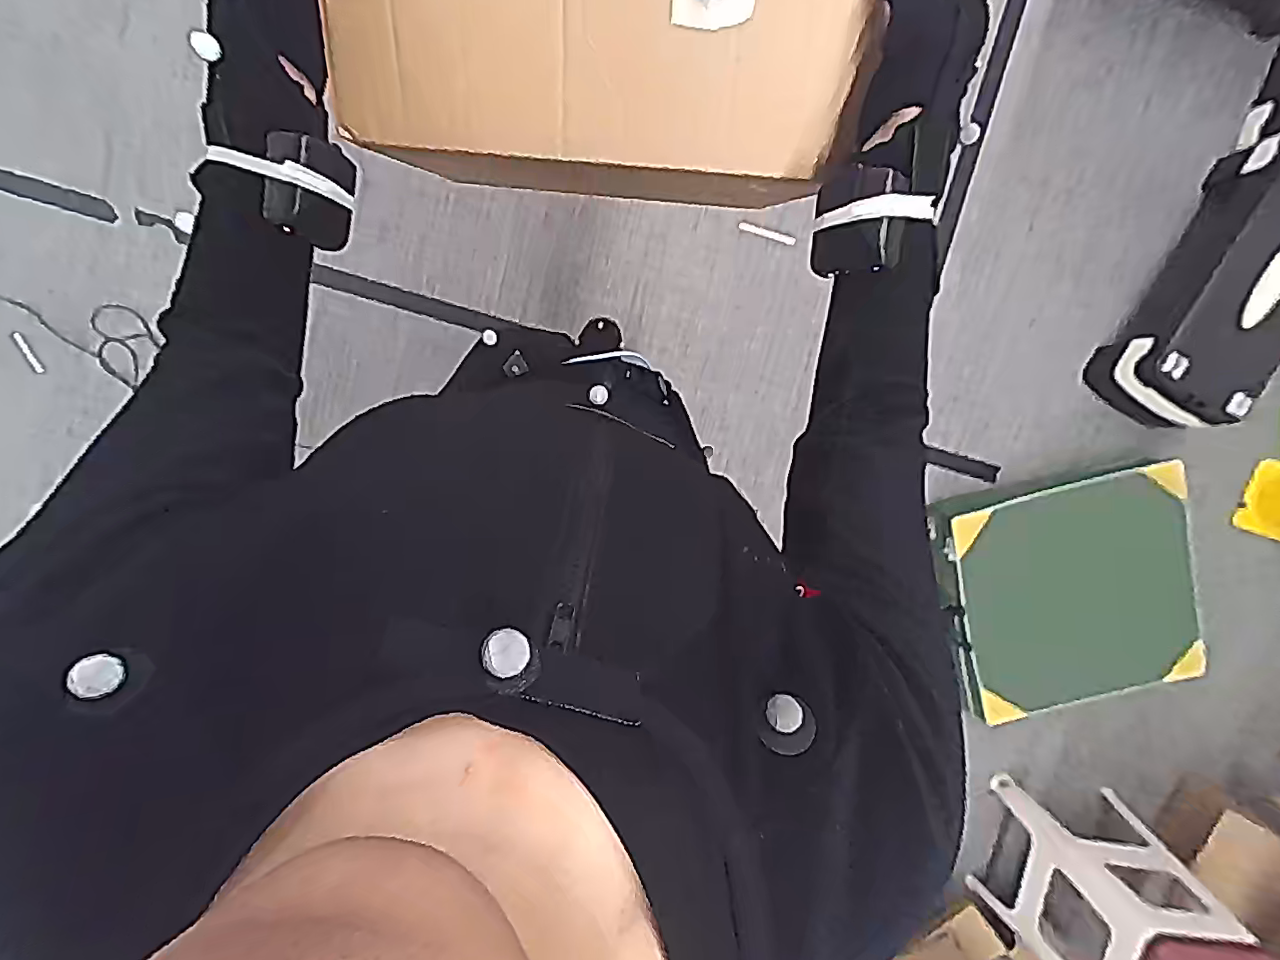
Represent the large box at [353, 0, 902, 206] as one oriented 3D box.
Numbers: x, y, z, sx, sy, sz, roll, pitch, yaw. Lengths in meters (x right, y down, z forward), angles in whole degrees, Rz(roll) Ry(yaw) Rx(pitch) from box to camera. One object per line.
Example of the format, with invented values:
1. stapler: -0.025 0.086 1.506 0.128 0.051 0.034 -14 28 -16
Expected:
1. large box: -0.011 -0.452 0.506 0.408 0.320 0.320 3 114 -5
